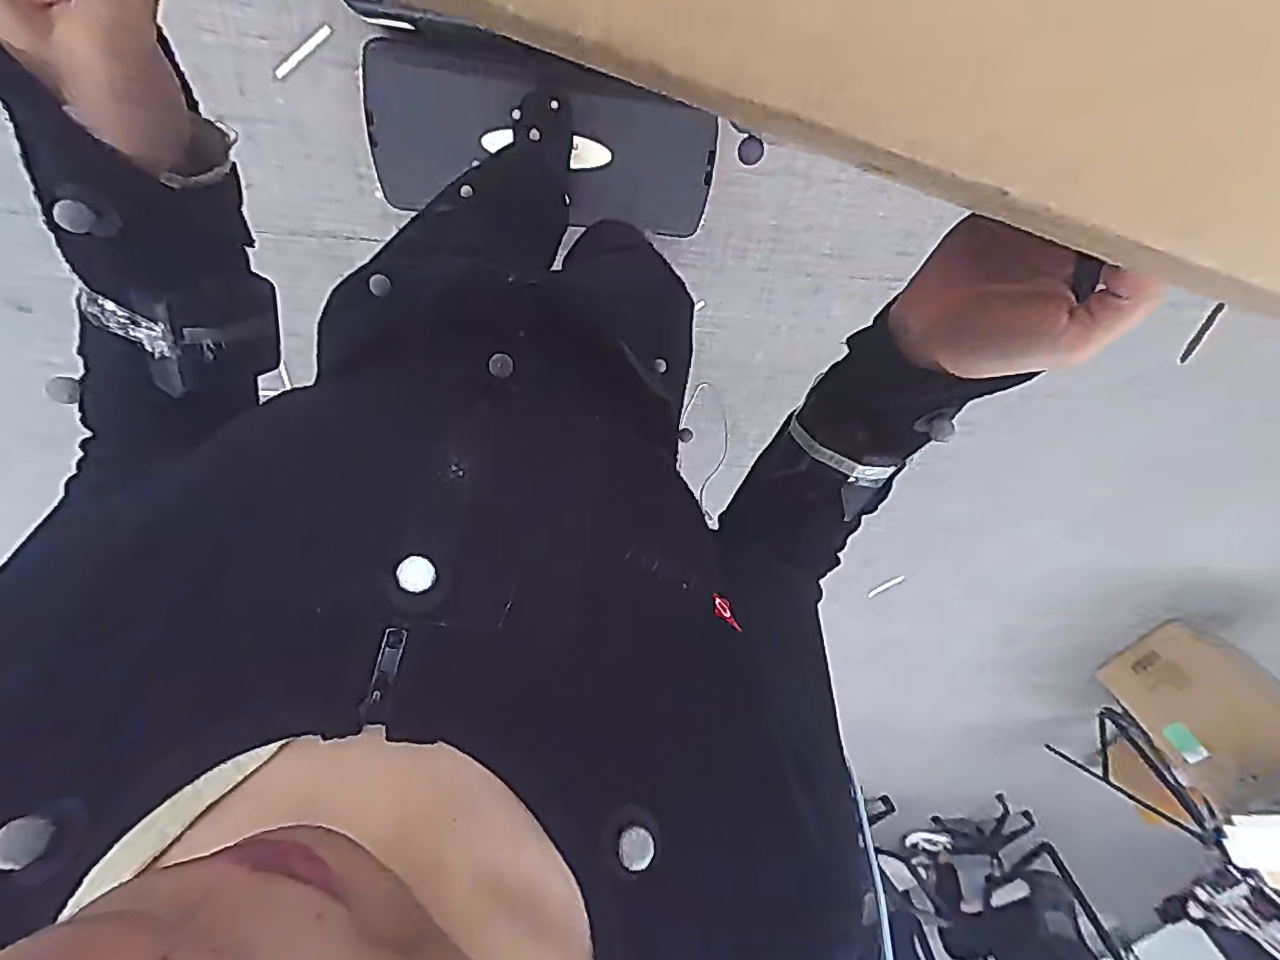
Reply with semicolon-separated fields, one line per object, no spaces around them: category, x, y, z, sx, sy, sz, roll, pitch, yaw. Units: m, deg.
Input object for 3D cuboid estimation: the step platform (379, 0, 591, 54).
step platform;-0.131;-0.878;0.869;0.684;0.204;0.286;6;125;-12
